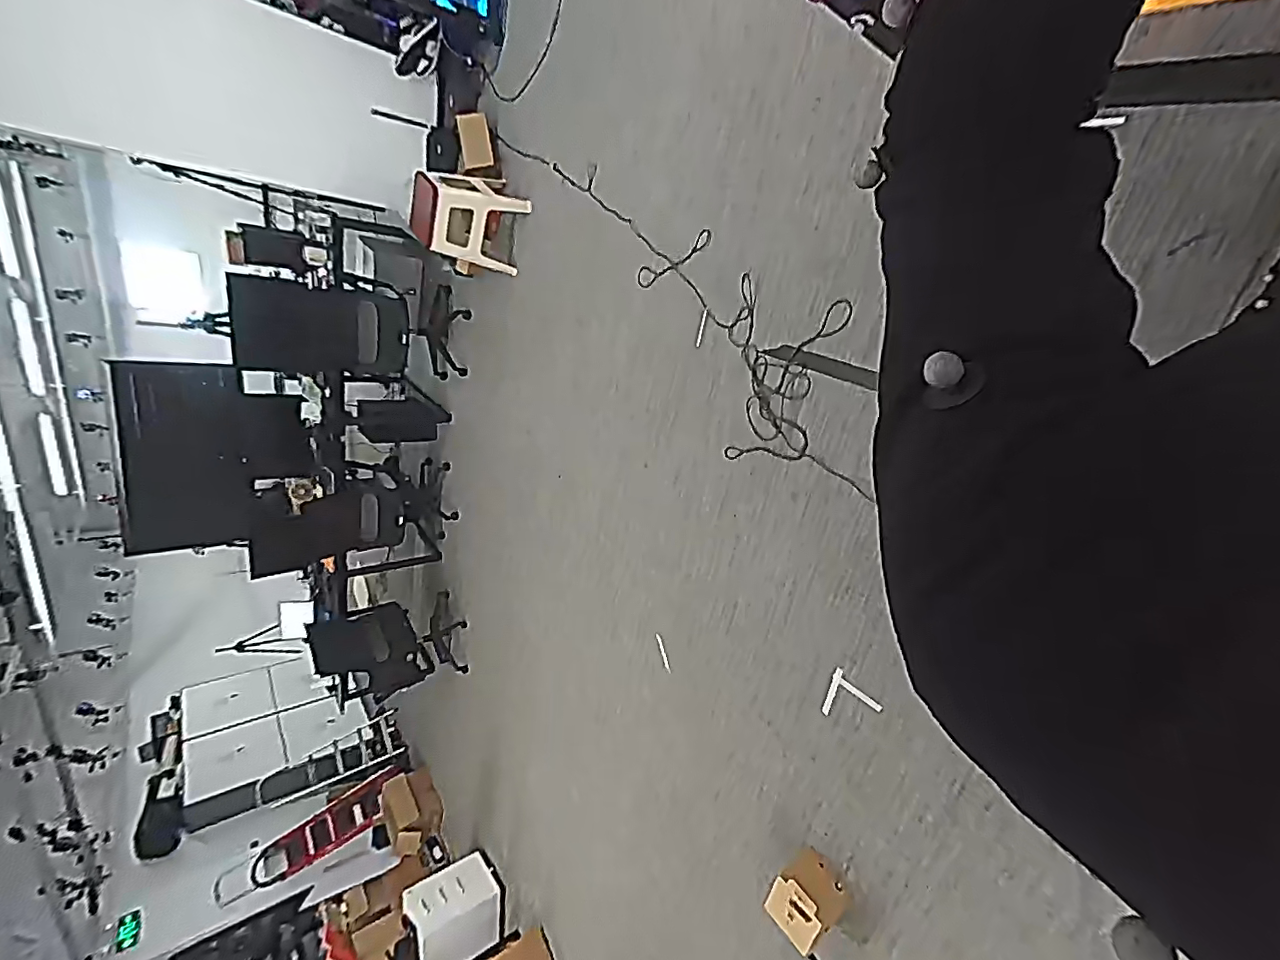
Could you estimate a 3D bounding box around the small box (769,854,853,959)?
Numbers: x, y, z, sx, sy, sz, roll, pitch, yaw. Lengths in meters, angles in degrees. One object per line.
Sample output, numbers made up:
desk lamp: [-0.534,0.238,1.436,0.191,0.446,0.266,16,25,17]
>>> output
small box: [0.540,1.331,1.696,0.168,0.176,0.179,35,122,44]
